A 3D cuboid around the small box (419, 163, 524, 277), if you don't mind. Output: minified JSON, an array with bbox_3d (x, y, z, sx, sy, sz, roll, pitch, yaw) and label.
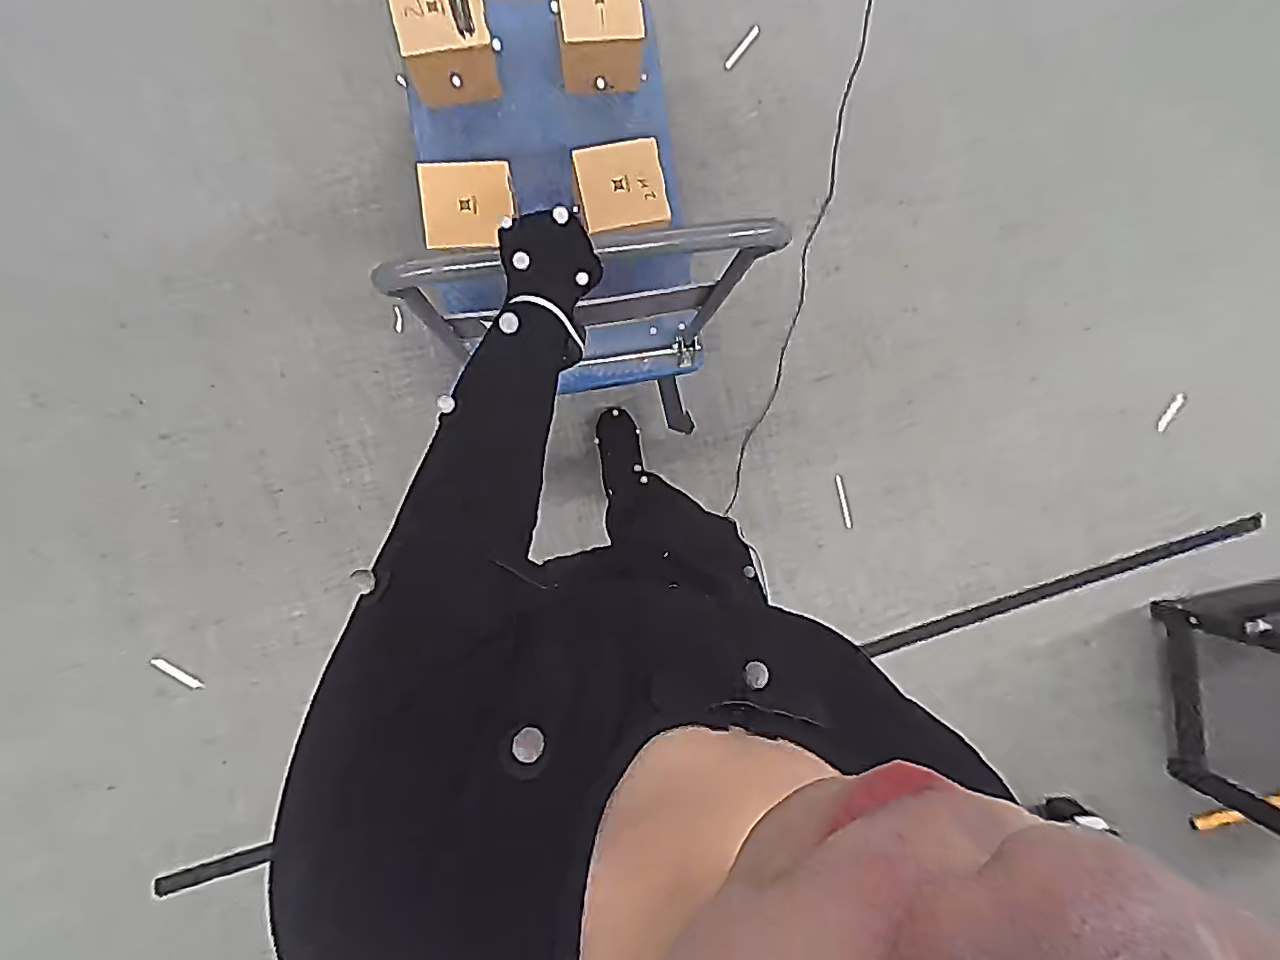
[{"bbox_3d":[-0.347,-0.540,1.143,0.179,0.176,0.168,-7,93,-8],"label":"small box"}]

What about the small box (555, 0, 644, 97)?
[{"bbox_3d":[-0.091,-0.964,1.153,0.168,0.176,0.179,-8,95,-6],"label":"small box"}]

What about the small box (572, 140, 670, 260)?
[{"bbox_3d":[-0.045,-0.598,1.174,0.179,0.176,0.168,-13,94,-6],"label":"small box"}]
